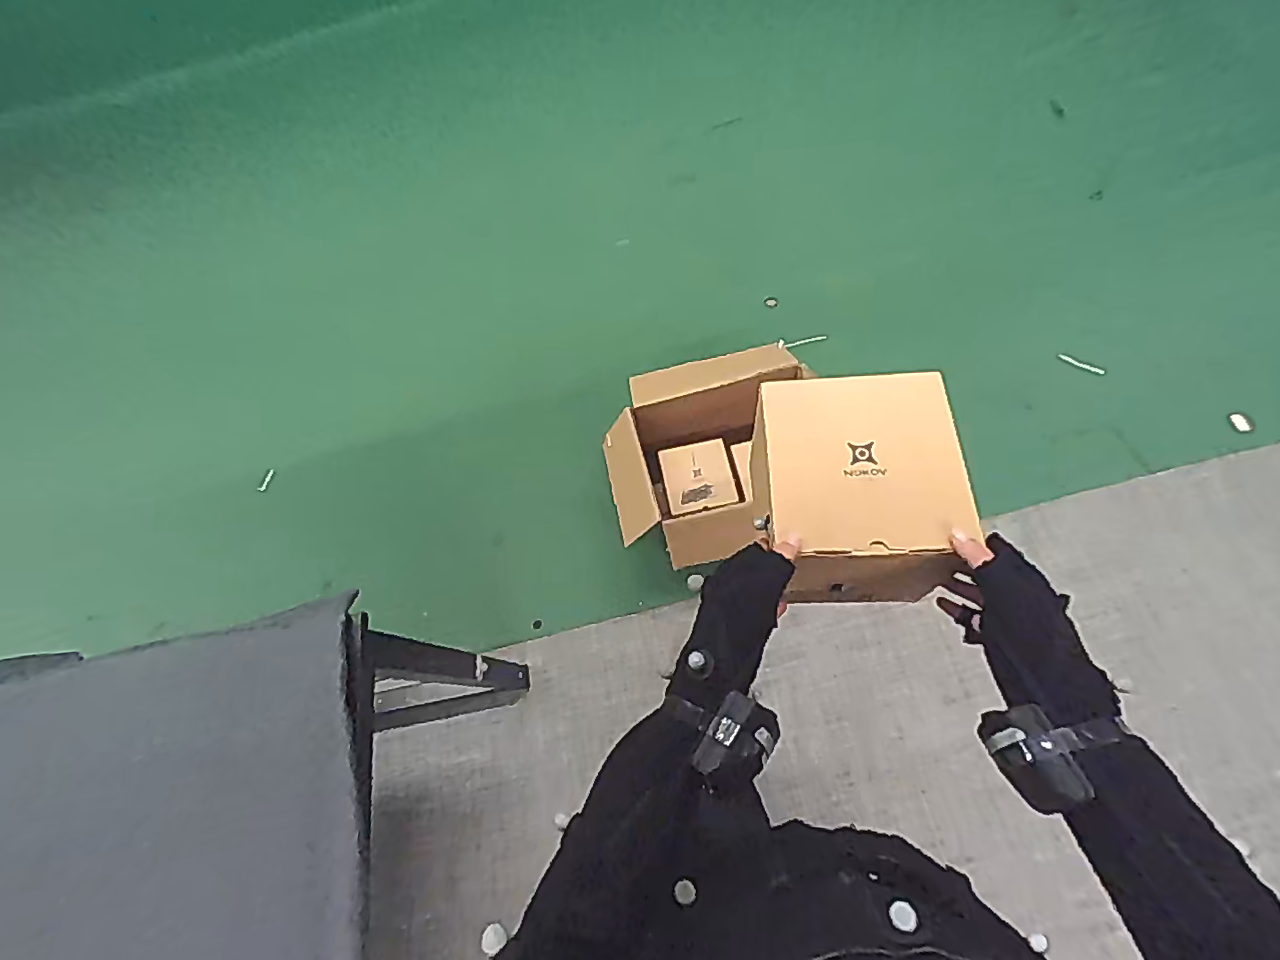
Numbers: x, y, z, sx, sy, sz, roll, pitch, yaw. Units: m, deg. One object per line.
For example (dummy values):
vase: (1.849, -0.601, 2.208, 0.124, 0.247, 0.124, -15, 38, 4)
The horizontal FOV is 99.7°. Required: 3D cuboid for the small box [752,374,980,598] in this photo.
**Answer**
small box: (0.207, 0.014, 0.554, 0.168, 0.176, 0.179, -3, 64, 8)
